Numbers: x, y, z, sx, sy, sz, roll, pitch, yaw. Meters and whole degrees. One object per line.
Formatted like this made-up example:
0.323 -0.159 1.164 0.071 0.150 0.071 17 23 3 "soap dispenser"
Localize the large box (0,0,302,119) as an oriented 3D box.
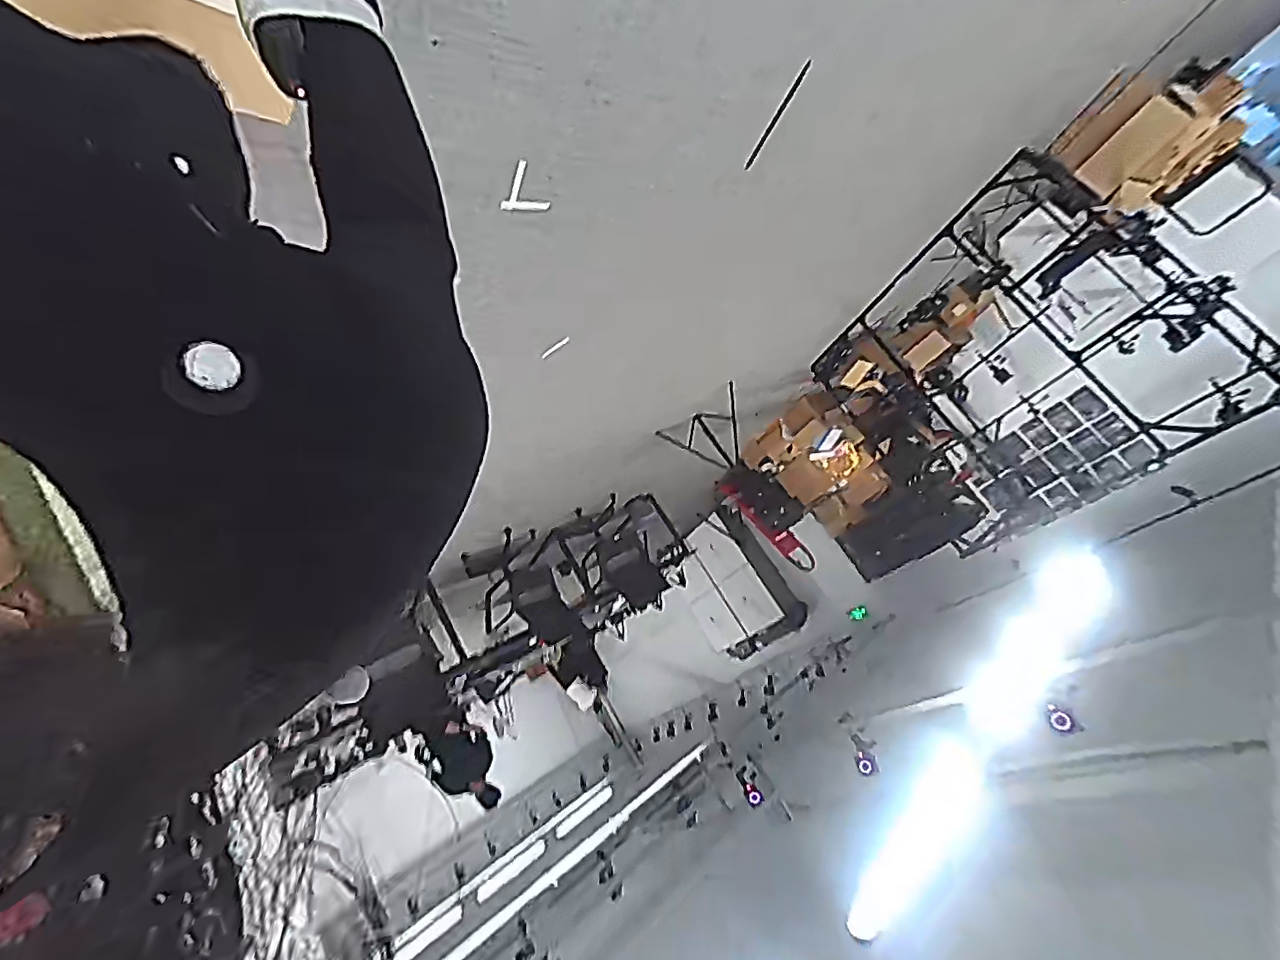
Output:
-0.742 -0.789 0.741 0.408 0.320 0.320 -17 158 -47 "large box"
